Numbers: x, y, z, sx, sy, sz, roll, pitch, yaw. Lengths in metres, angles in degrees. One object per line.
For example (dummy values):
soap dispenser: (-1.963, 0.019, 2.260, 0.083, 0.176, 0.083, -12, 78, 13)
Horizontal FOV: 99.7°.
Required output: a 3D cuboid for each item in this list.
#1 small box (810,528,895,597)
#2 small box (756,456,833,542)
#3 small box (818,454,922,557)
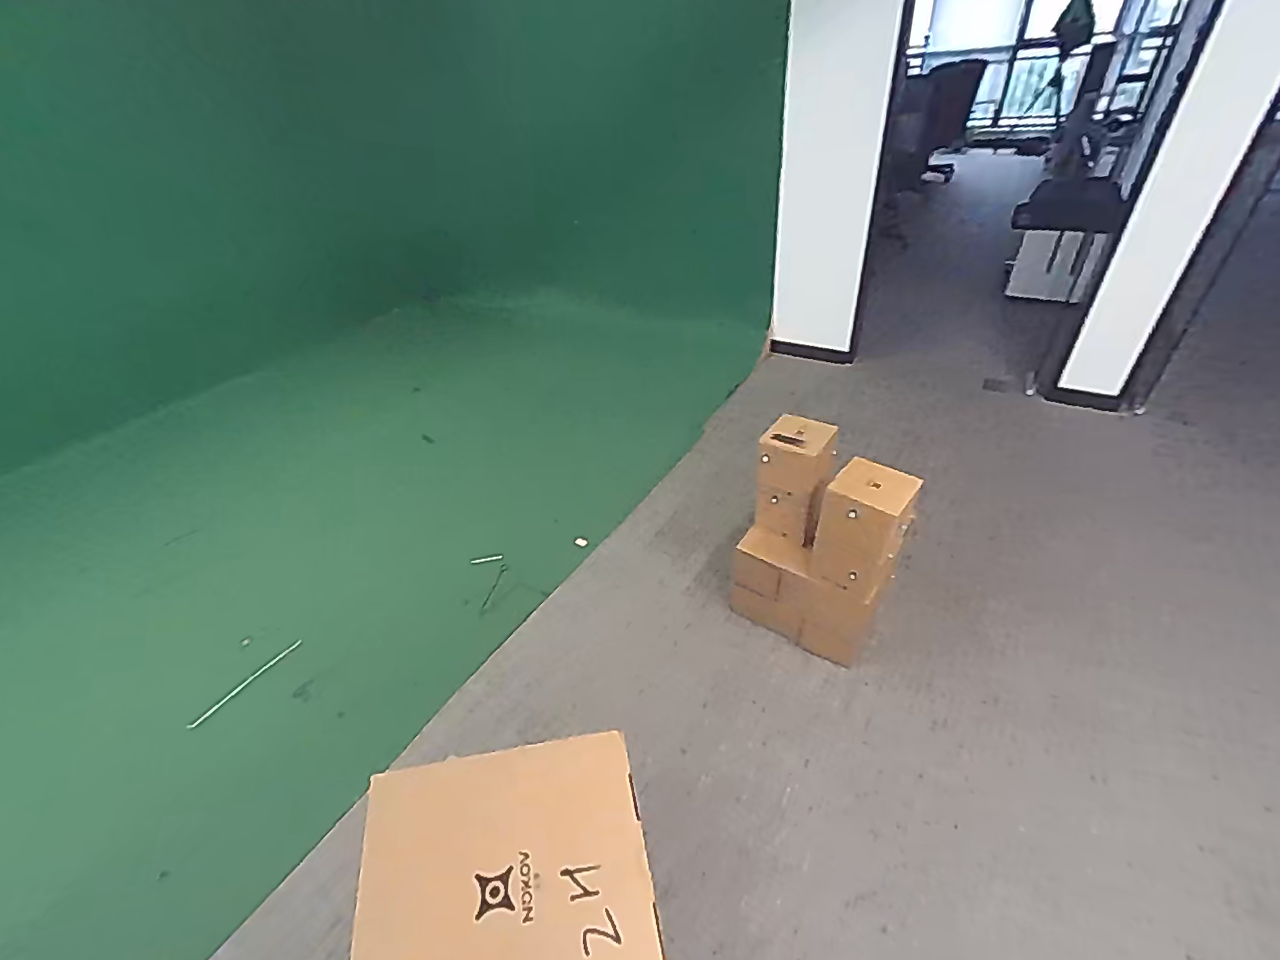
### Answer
small box: (0.581, 0.186, 1.473, 0.168, 0.176, 0.179, 26, 47, 32)
small box: (0.467, 0.057, 1.653, 0.168, 0.176, 0.179, 24, 46, 34)
small box: (0.572, 0.067, 1.362, 0.179, 0.176, 0.168, 26, 48, 33)
